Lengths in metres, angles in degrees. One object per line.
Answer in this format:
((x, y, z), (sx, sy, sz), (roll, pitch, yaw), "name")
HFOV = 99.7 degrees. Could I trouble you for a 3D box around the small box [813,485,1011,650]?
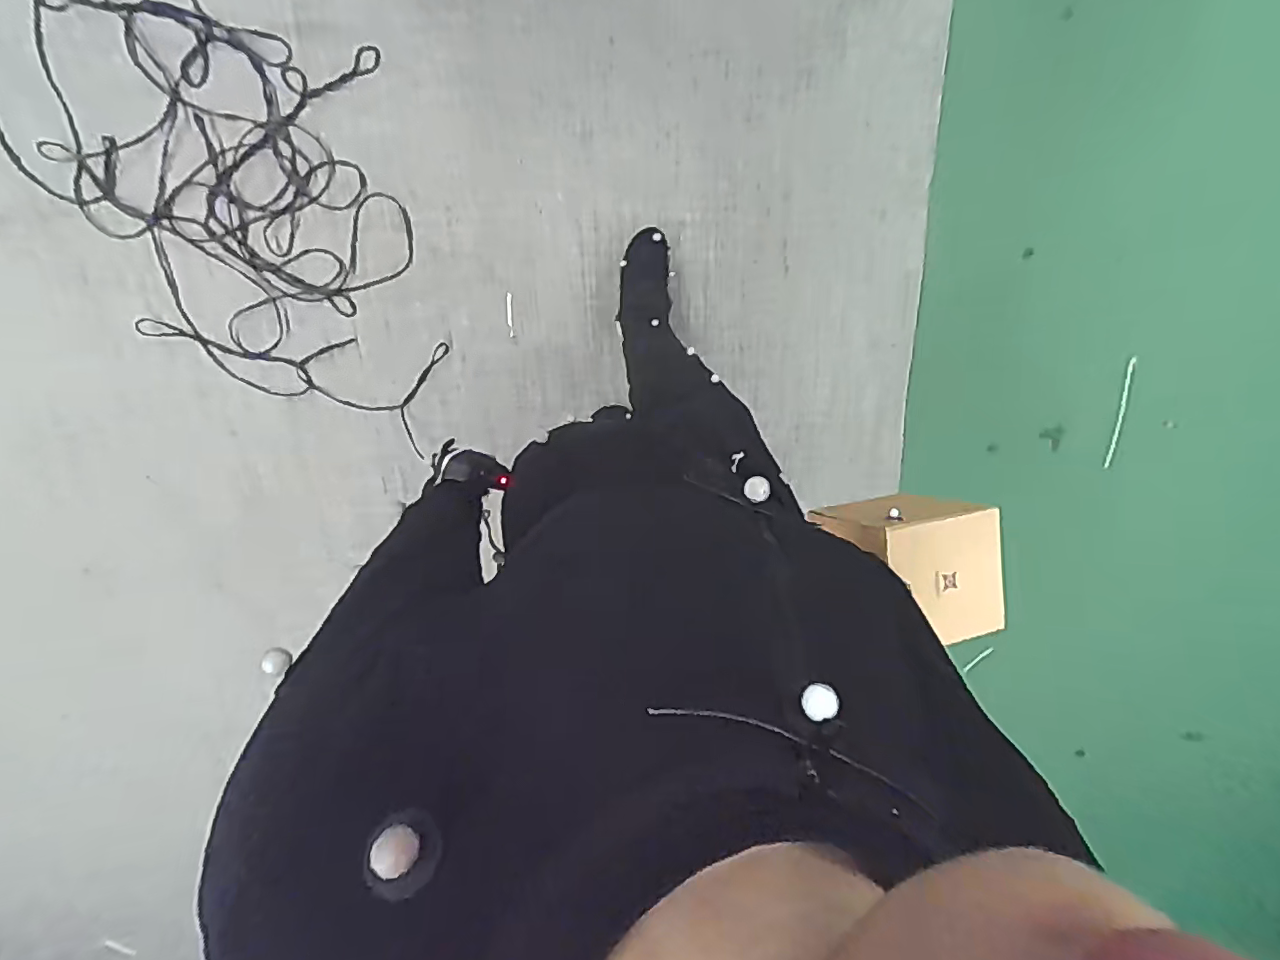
((0.365, 0.106, 0.743), (0.179, 0.176, 0.168), (-10, 98, -14), "small box")
